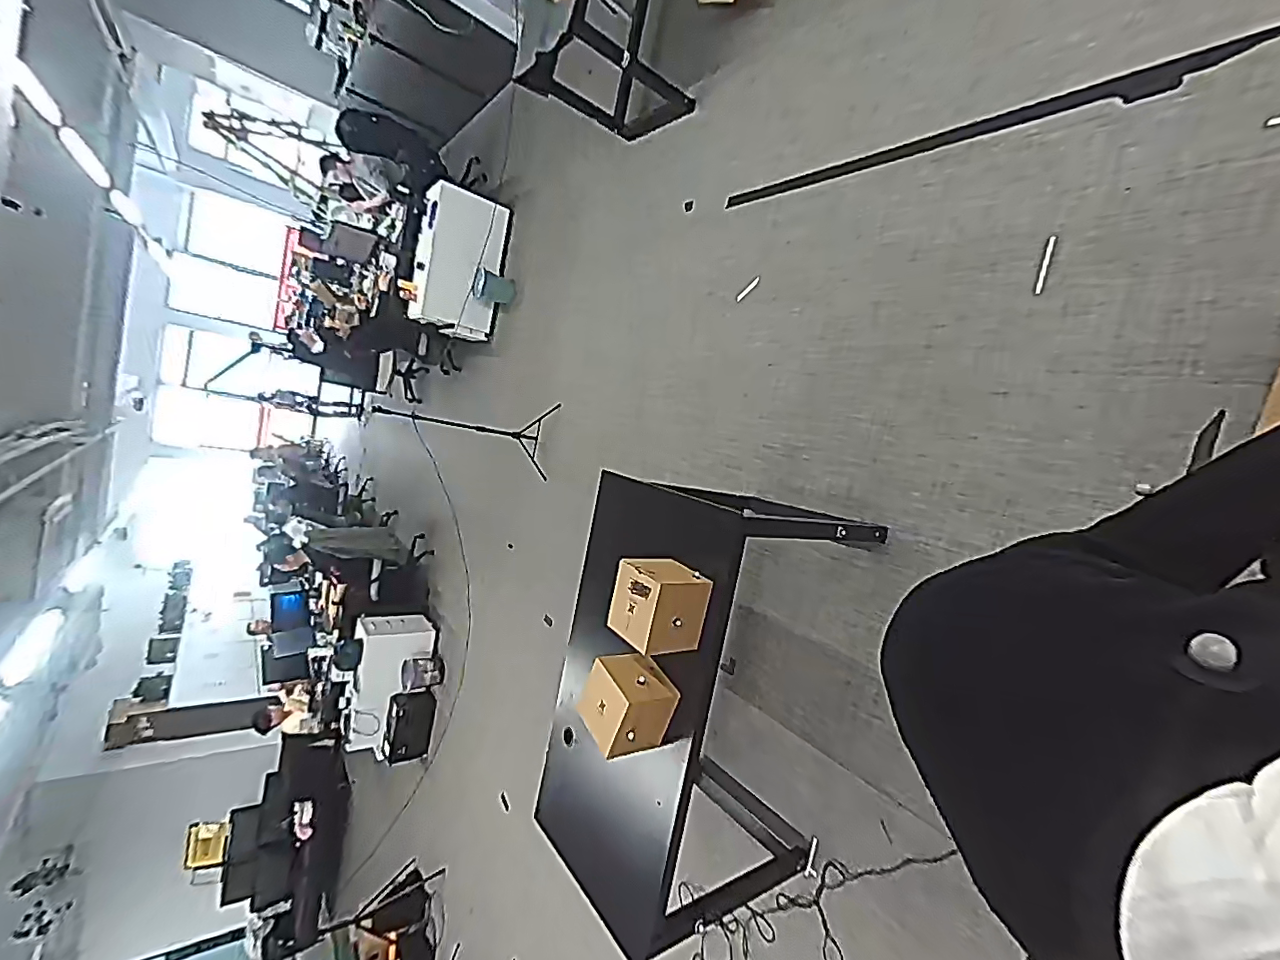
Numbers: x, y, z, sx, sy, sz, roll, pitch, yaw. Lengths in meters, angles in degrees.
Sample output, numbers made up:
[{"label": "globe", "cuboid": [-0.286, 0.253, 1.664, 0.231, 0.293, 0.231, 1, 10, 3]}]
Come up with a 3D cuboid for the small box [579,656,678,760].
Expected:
[{"label": "small box", "cuboid": [-0.026, 0.568, 1.375, 0.168, 0.176, 0.179, 39, 115, 49]}]

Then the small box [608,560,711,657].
[{"label": "small box", "cuboid": [0.049, 0.304, 1.317, 0.168, 0.176, 0.179, 22, 102, 52]}]
